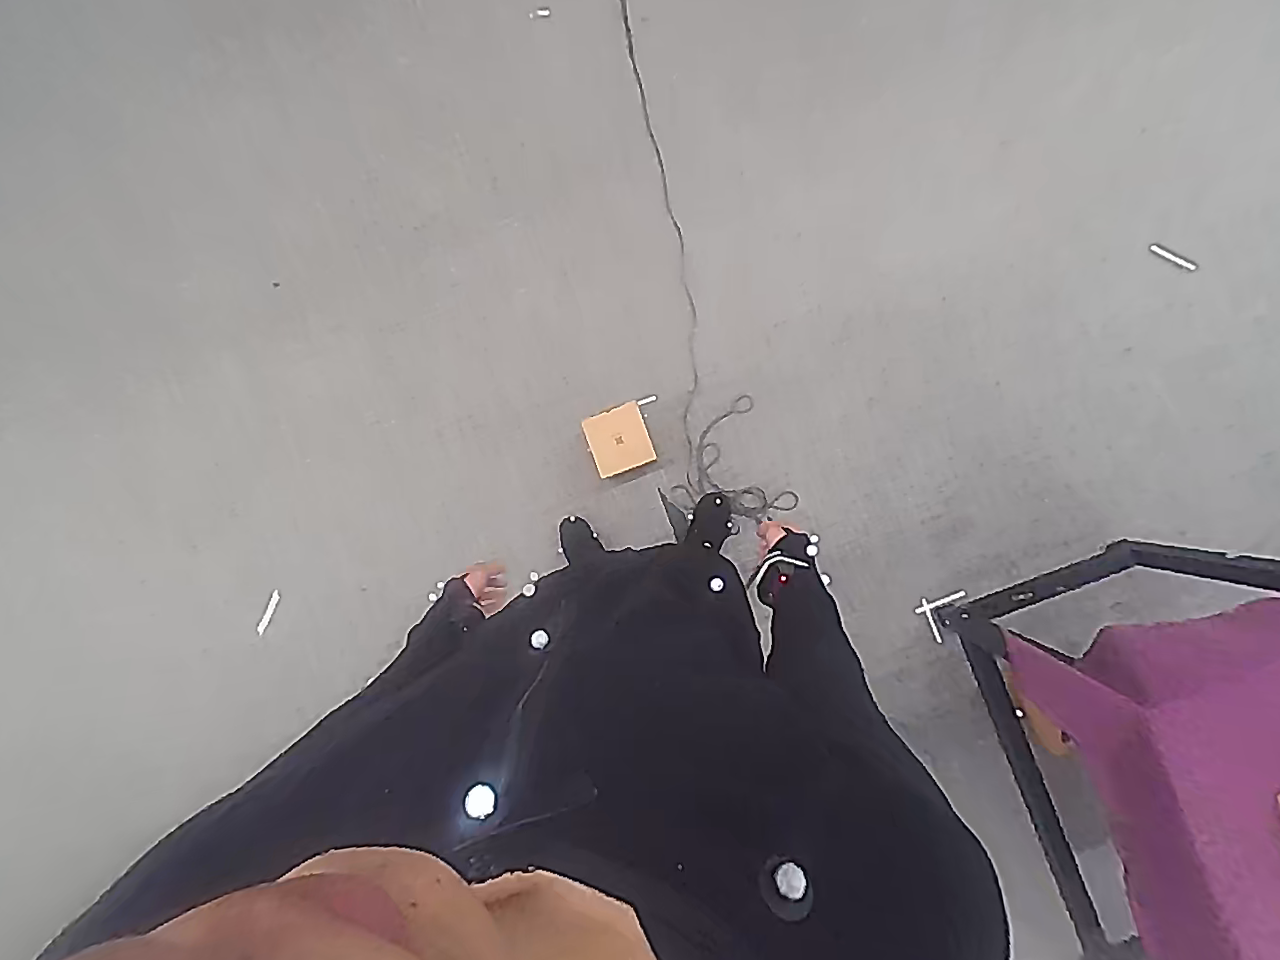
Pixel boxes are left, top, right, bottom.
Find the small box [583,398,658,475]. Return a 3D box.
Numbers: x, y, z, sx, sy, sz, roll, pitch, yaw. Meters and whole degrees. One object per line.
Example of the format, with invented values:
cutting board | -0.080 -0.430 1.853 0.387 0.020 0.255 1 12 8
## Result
small box | -0.052 -0.119 1.559 0.168 0.176 0.179 -20 89 4
